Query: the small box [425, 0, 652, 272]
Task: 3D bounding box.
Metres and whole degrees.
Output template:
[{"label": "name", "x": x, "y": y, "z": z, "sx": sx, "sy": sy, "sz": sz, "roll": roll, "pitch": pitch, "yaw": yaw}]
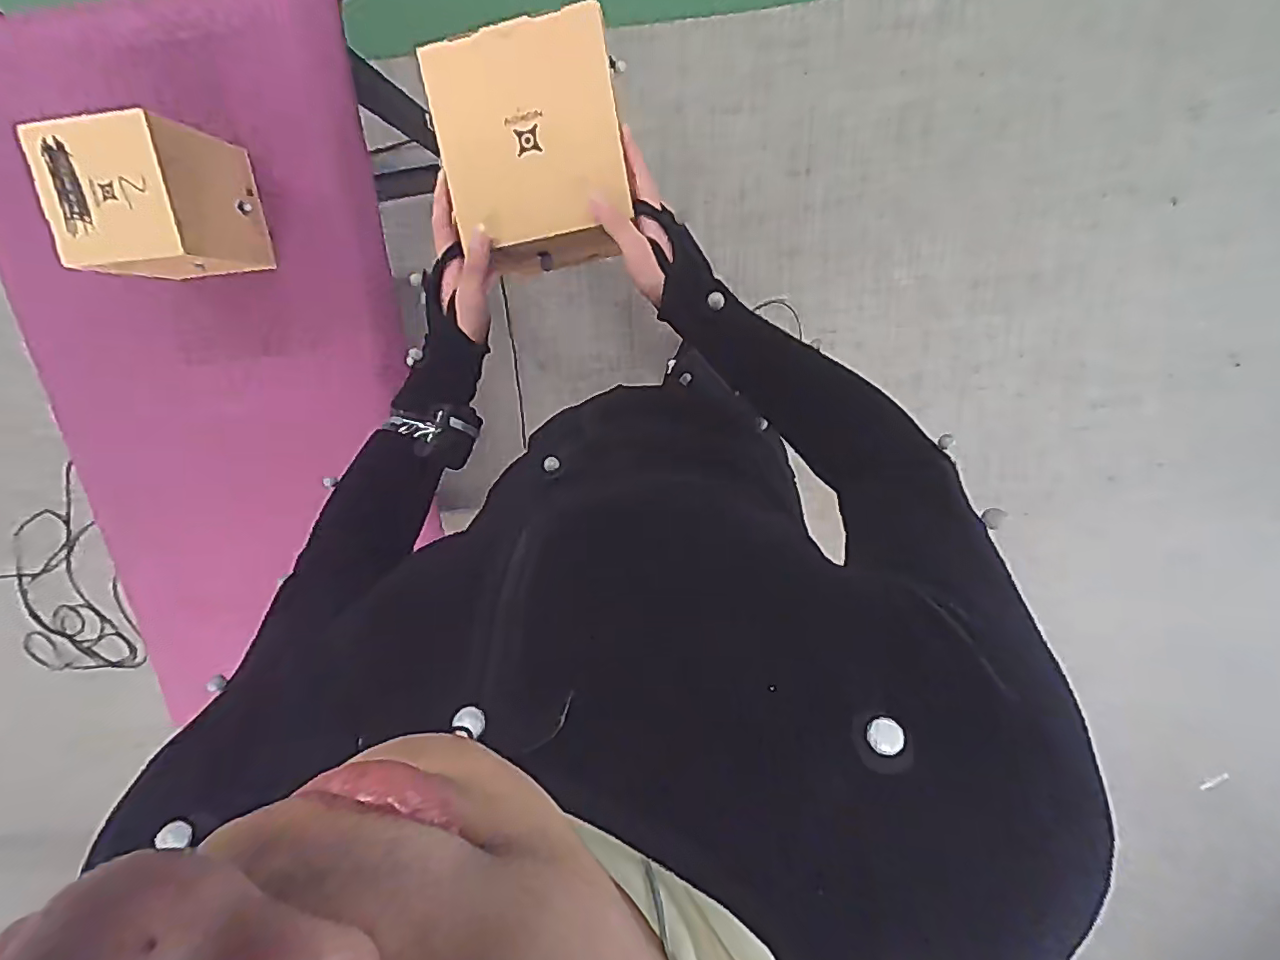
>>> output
[{"label": "small box", "x": -0.085, "y": -0.321, "z": 0.553, "sx": 0.168, "sy": 0.176, "sz": 0.179, "roll": -10, "pitch": 102, "yaw": 7}]
